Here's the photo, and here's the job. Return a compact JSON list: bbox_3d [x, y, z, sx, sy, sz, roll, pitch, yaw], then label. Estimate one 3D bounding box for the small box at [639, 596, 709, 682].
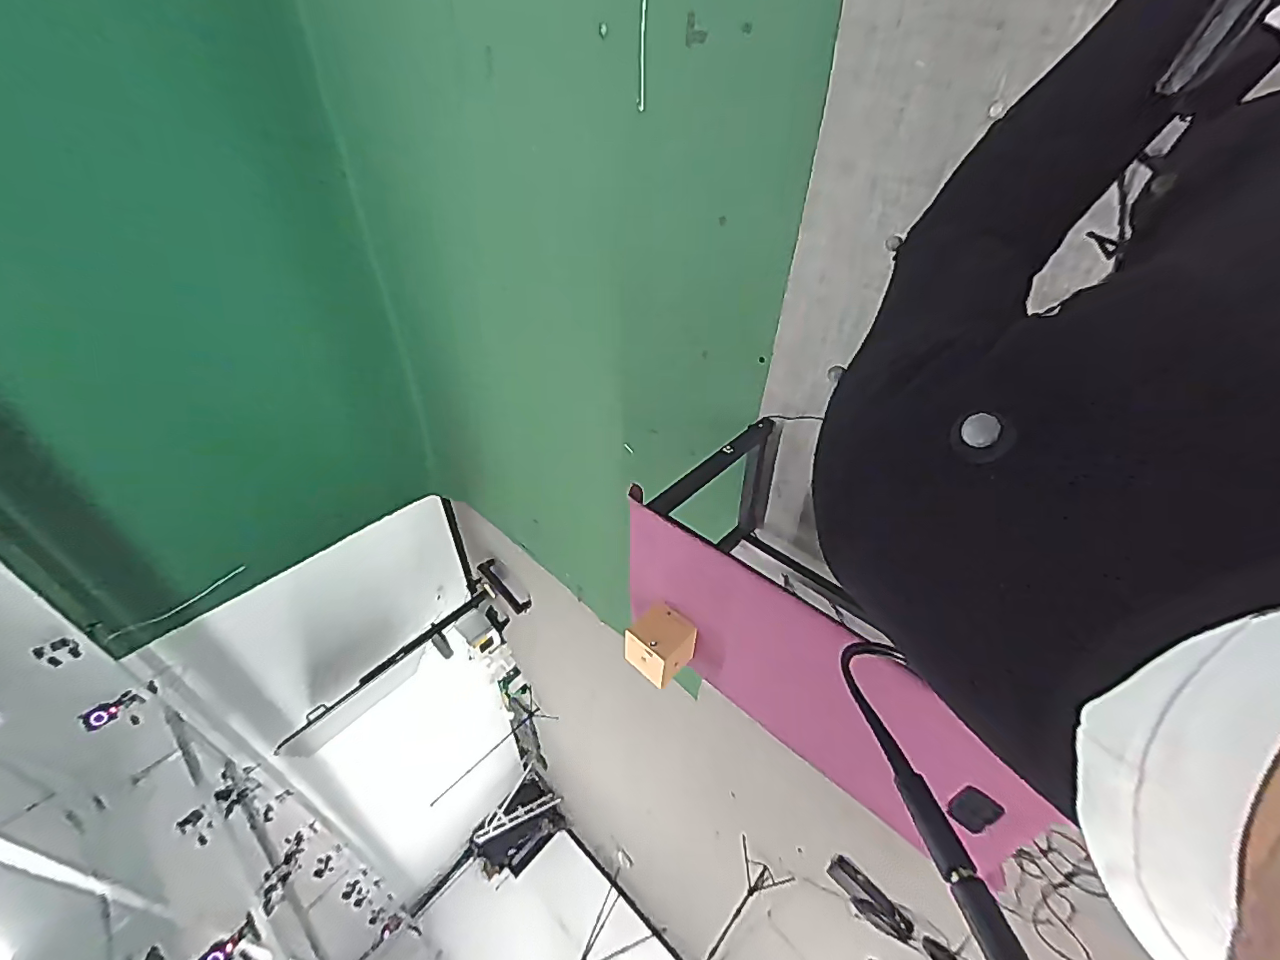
[{"bbox_3d":[0.114,0.524,1.794,0.168,0.176,0.179,32,140,30],"label":"small box"}]
